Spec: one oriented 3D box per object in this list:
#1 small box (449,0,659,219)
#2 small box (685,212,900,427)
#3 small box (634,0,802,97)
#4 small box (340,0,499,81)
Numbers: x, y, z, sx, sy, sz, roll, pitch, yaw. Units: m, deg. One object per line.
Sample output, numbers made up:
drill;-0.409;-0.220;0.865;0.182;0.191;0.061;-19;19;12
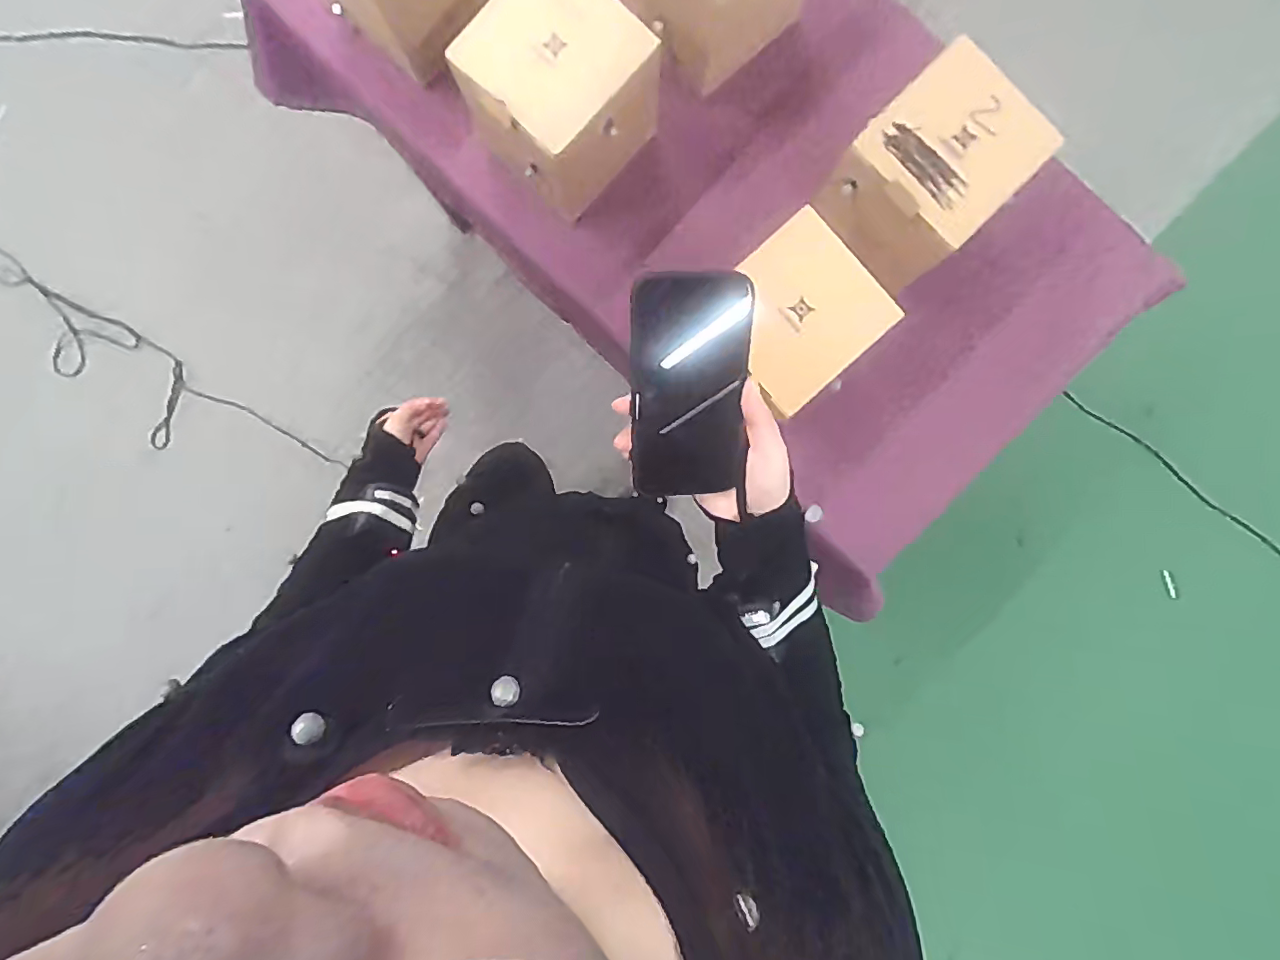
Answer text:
small box;-0.094;-0.467;0.670;0.168;0.176;0.179;44;90;-2
small box;0.173;-0.184;0.678;0.179;0.176;0.168;-41;91;1
small box;0.101;-0.635;0.663;0.179;0.176;0.168;-39;91;2
small box;-0.295;-0.654;0.662;0.168;0.176;0.179;43;90;-2
